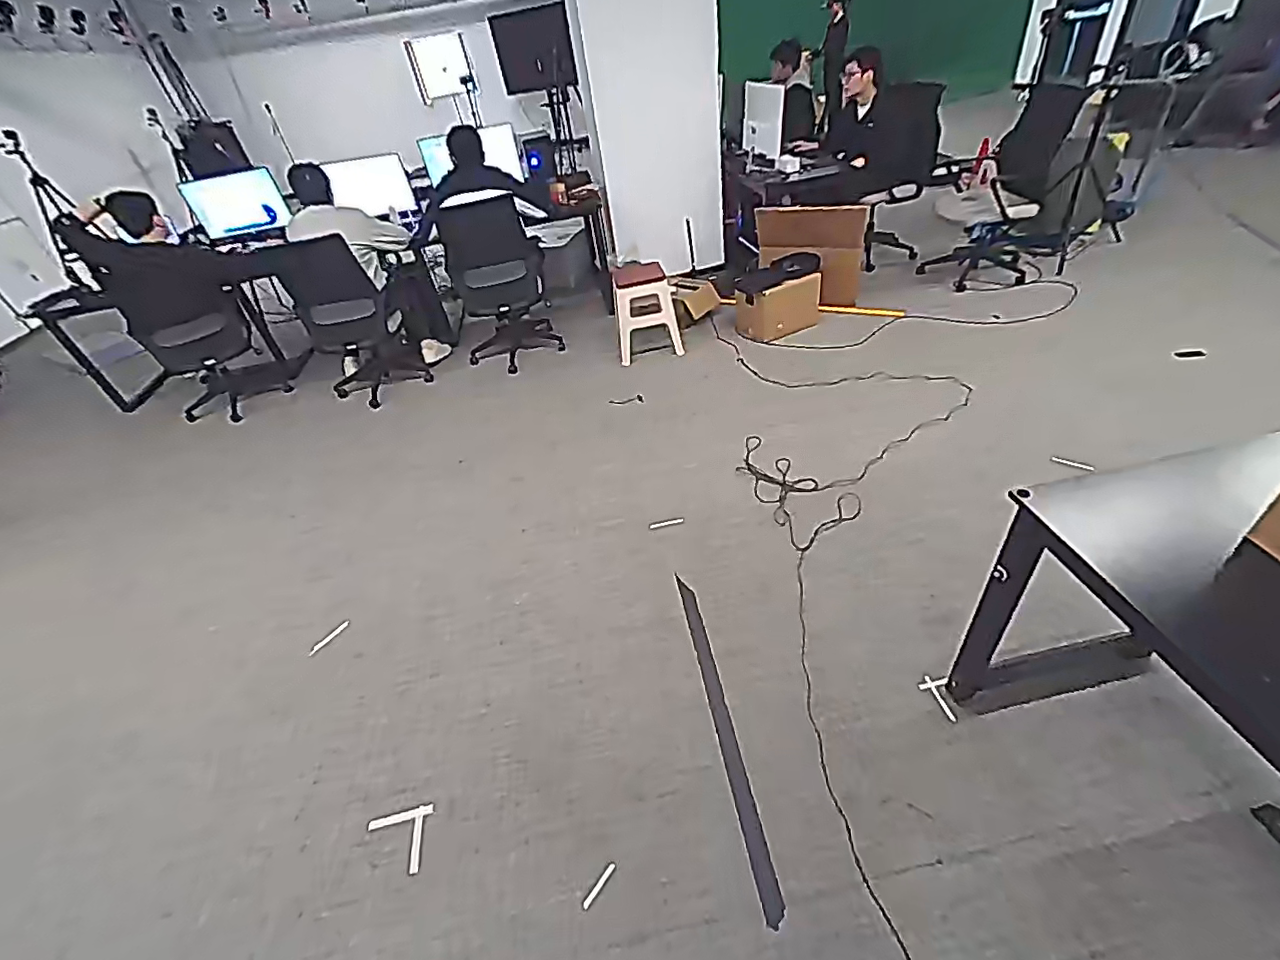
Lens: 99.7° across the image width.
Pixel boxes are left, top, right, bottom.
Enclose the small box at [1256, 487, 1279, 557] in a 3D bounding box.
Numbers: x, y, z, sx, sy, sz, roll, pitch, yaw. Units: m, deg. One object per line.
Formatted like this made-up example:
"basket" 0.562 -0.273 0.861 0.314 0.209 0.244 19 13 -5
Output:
"small box" 1.105 0.066 0.809 0.179 0.176 0.168 -10 39 0
